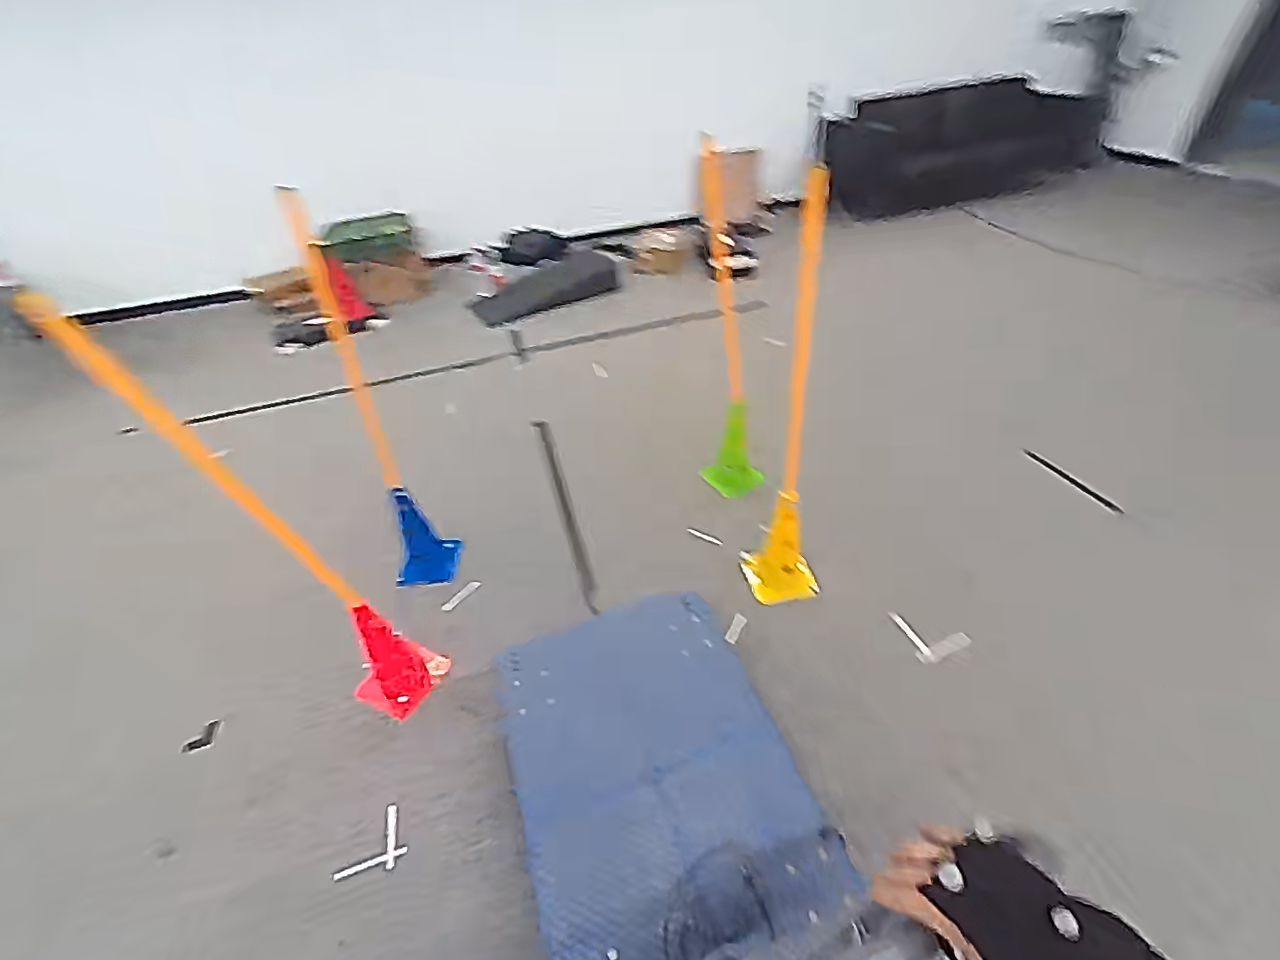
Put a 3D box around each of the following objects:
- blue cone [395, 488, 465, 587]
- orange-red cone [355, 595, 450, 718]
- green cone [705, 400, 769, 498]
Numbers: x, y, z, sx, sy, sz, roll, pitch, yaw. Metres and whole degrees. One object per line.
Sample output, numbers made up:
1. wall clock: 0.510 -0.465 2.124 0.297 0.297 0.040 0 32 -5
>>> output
1. blue cone: -0.737 0.173 1.812 0.193 0.380 0.192 -4 40 1
2. orange-red cone: -0.686 0.437 1.460 0.198 0.360 0.199 17 42 23
3. green cone: 0.376 -0.142 2.054 0.200 0.368 0.202 -23 44 -21
